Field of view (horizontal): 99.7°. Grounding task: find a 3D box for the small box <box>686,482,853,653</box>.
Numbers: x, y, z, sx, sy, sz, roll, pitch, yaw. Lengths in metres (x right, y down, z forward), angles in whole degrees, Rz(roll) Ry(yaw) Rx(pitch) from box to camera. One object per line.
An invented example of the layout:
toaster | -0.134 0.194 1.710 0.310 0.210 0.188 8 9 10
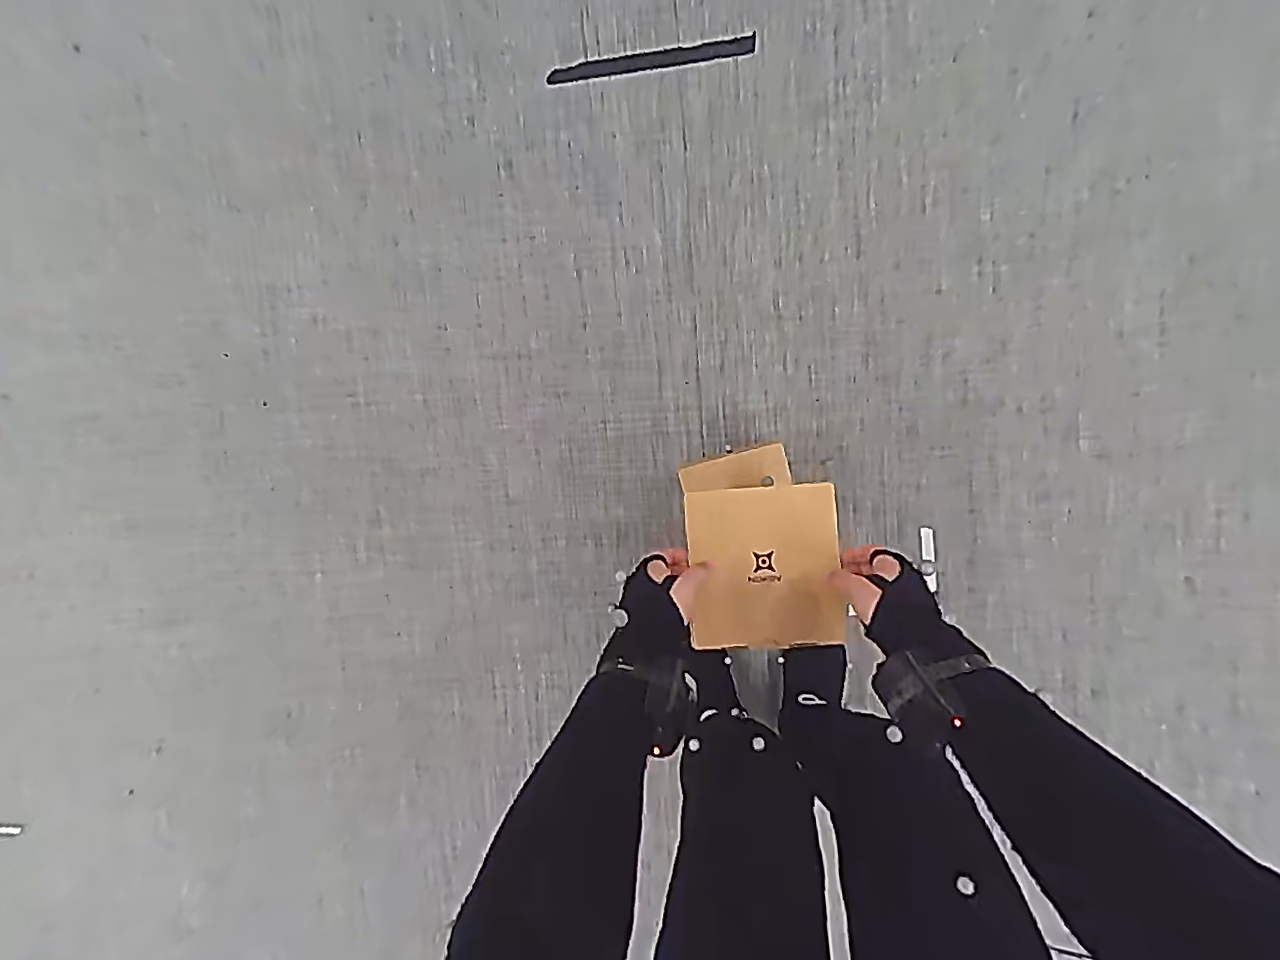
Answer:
small box | 0.143 0.099 0.656 0.168 0.176 0.179 -4 87 4

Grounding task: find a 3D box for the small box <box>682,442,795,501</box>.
small box | 0.170 0.041 0.905 0.168 0.176 0.179 -15 93 7
